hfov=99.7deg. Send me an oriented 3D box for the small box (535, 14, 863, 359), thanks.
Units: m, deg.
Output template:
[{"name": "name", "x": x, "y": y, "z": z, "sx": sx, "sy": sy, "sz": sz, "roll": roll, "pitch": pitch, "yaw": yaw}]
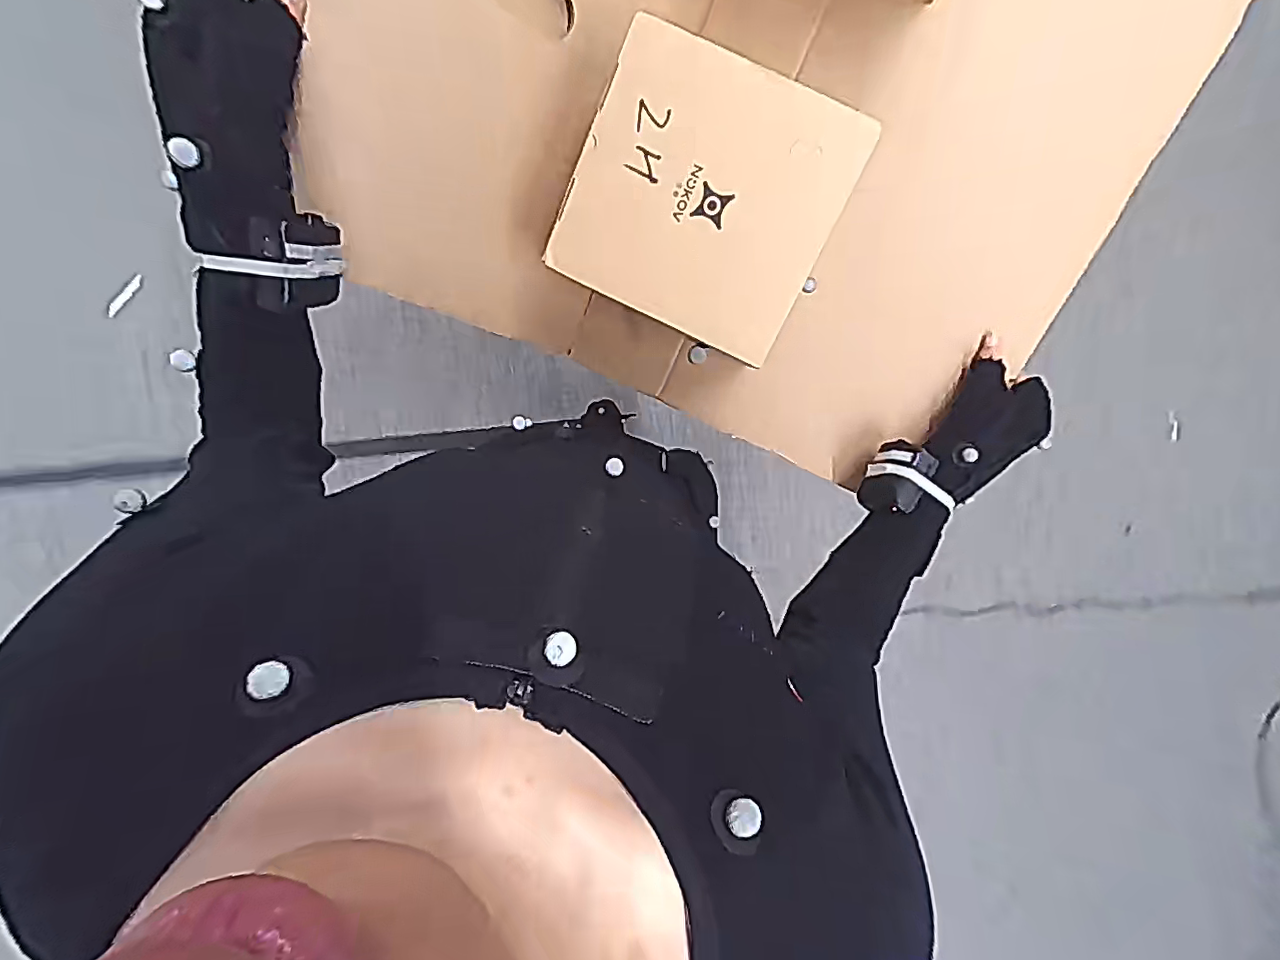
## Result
[{"name": "small box", "x": 0.044, "y": -0.213, "z": 0.444, "sx": 0.179, "sy": 0.176, "sz": 0.168, "roll": 25, "pitch": 105, "yaw": 2}]
